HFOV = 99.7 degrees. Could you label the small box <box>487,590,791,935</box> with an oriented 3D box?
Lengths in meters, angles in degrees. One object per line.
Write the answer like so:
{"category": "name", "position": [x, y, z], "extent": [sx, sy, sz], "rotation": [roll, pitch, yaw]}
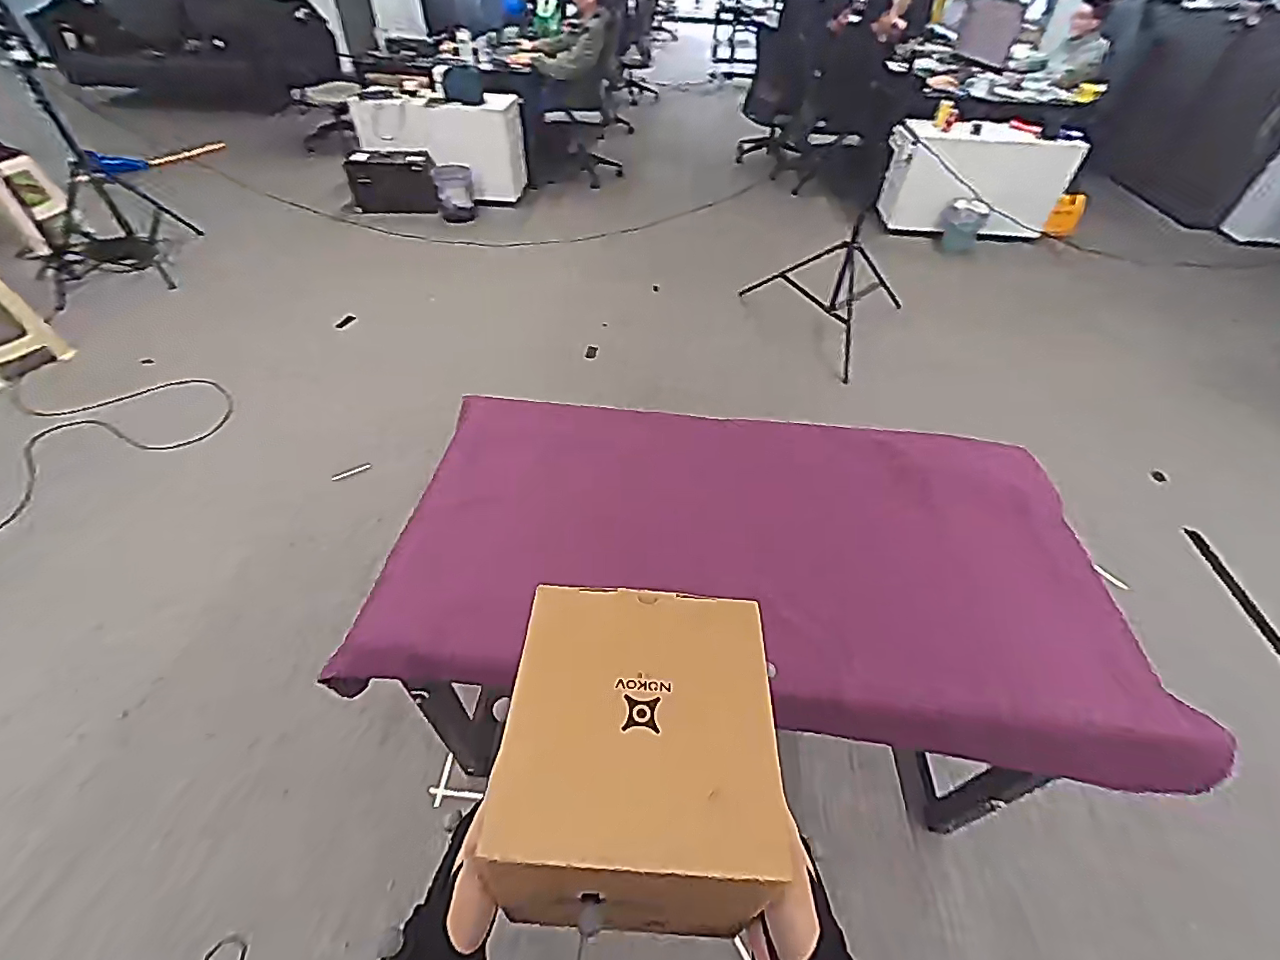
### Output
{"category": "small box", "position": [0.001, 0.206, 0.397], "extent": [0.168, 0.176, 0.179], "rotation": [5, 41, 0]}
